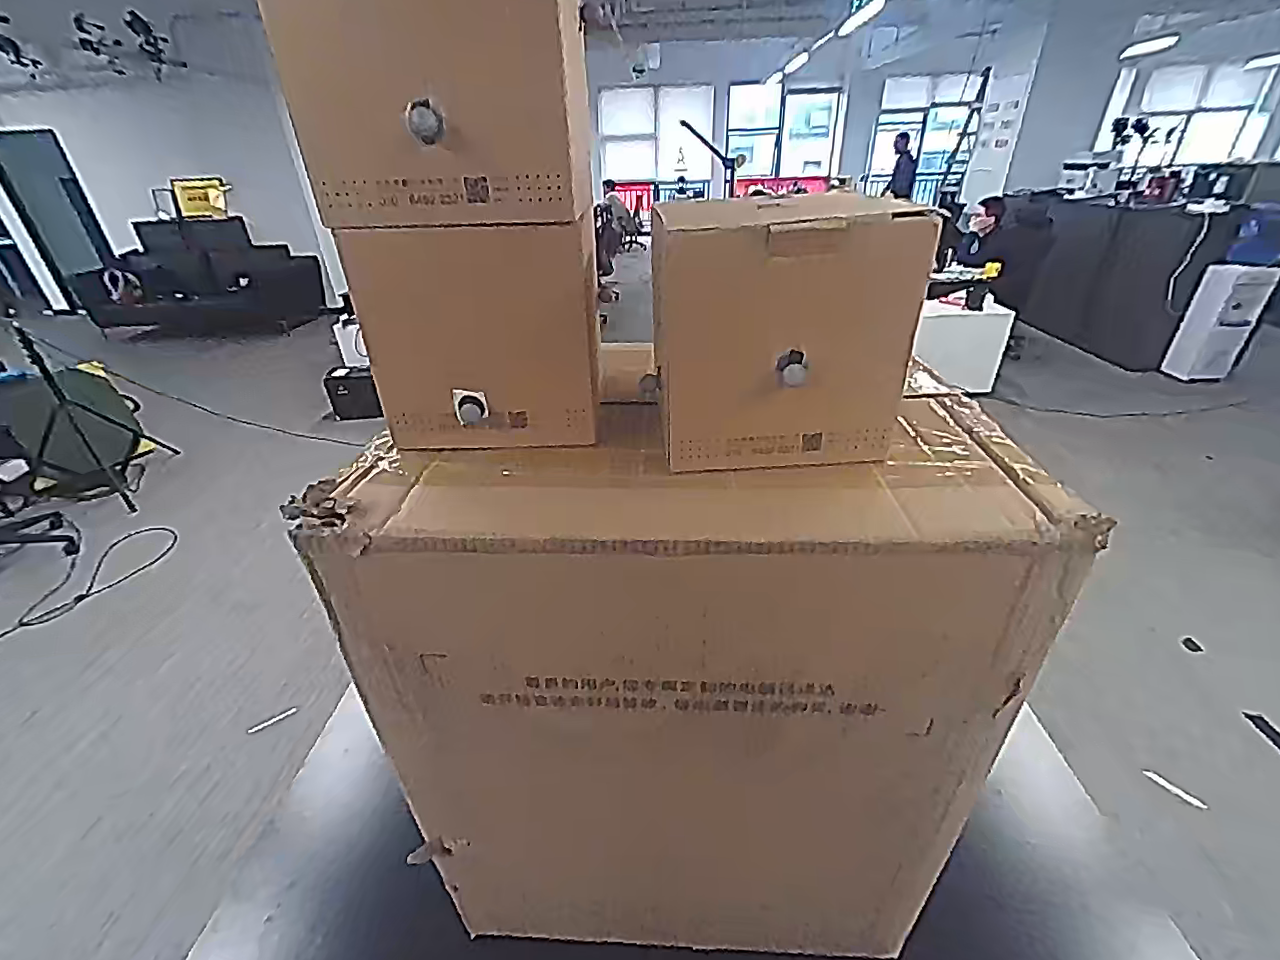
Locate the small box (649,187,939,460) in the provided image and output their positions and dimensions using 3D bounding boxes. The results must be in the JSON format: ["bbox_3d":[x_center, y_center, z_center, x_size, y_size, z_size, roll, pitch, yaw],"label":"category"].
[{"bbox_3d":[0.096,-0.124,0.425,0.168,0.176,0.179,-3,32,-1],"label":"small box"}]

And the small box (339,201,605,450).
[{"bbox_3d":[-0.118,-0.138,0.464,0.168,0.176,0.179,-3,32,-2],"label":"small box"}]

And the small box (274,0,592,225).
[{"bbox_3d":[-0.125,-0.279,0.377,0.168,0.176,0.179,-2,31,1],"label":"small box"}]
